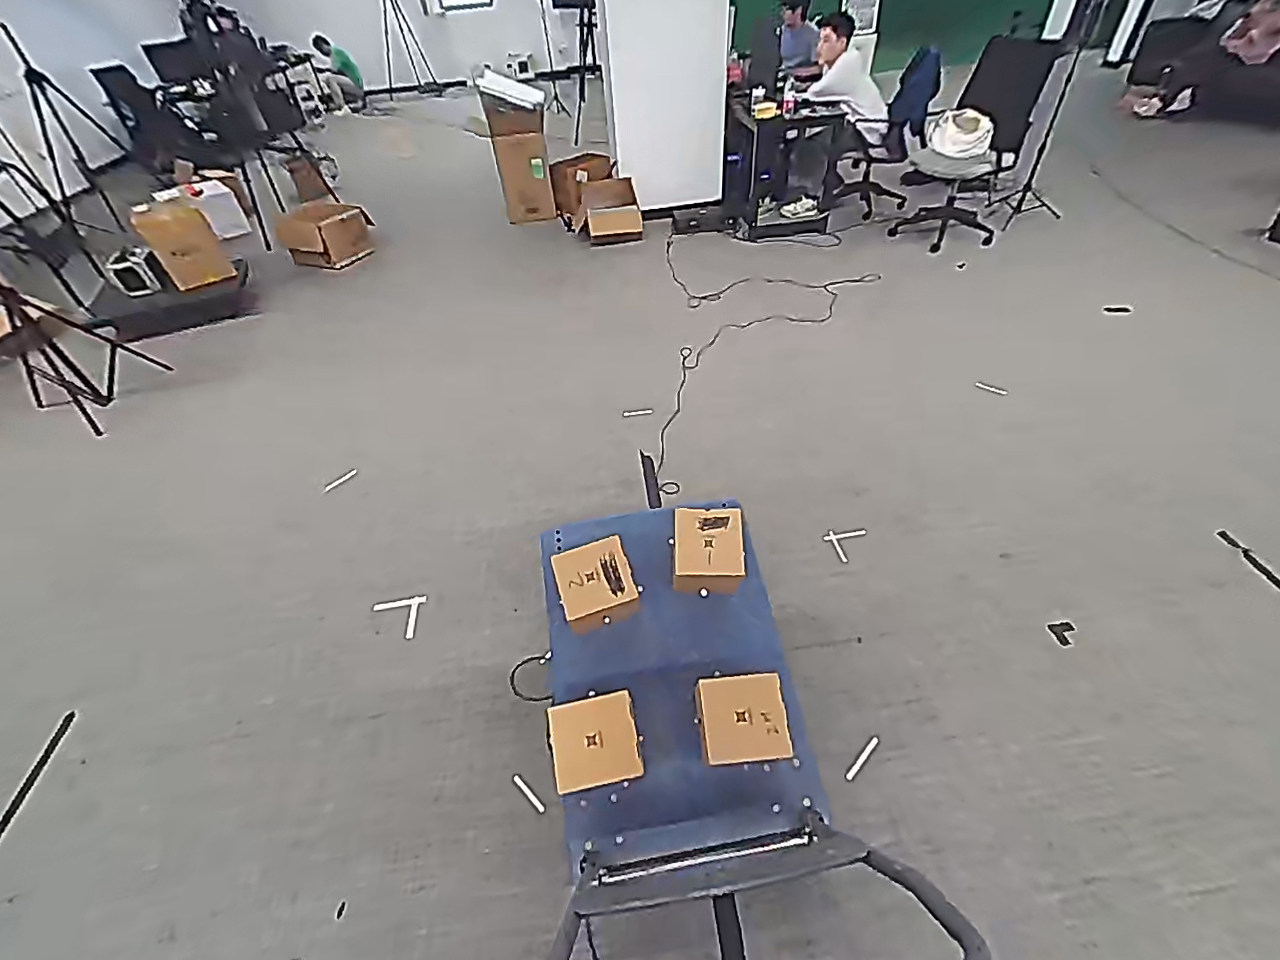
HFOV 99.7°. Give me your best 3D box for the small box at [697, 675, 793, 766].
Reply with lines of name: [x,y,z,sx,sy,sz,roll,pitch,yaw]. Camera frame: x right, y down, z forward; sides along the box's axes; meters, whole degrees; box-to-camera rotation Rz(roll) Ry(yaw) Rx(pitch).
small box: [0.221,0.535,1.197,0.179,0.176,0.168,-5,62,-1]

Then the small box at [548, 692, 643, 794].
small box: [-0.094,0.578,1.183,0.179,0.176,0.168,-11,62,-6]

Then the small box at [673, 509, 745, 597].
small box: [0.169,0.189,1.384,0.168,0.176,0.179,0,63,2]
